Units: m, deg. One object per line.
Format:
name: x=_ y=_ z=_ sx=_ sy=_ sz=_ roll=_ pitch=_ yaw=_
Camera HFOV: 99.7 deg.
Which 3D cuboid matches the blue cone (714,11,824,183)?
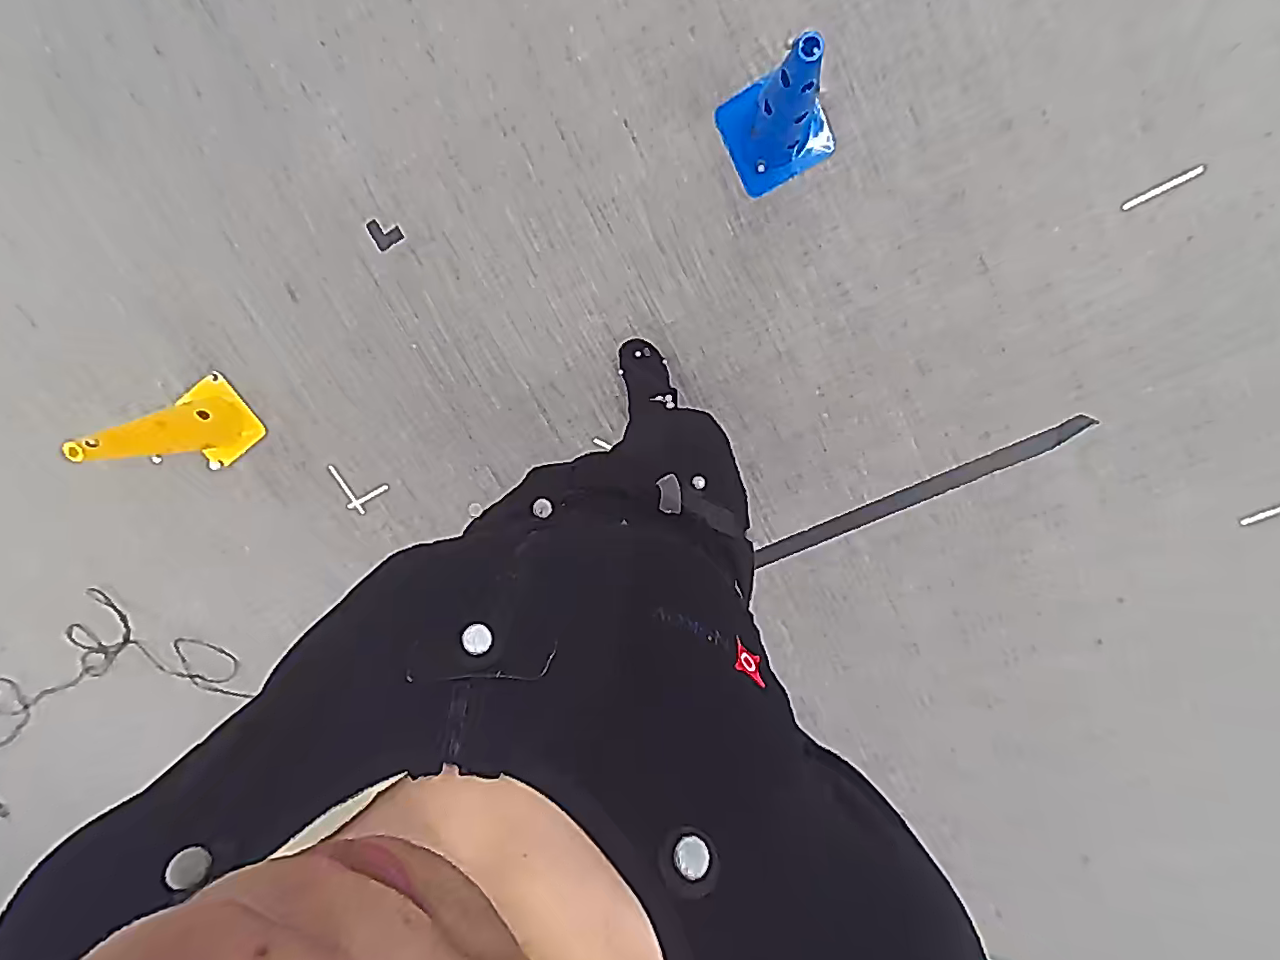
blue cone: x=0.254 y=-0.701 z=0.968 sx=0.193 sy=0.380 sz=0.192 roll=-25 pitch=101 yaw=12
